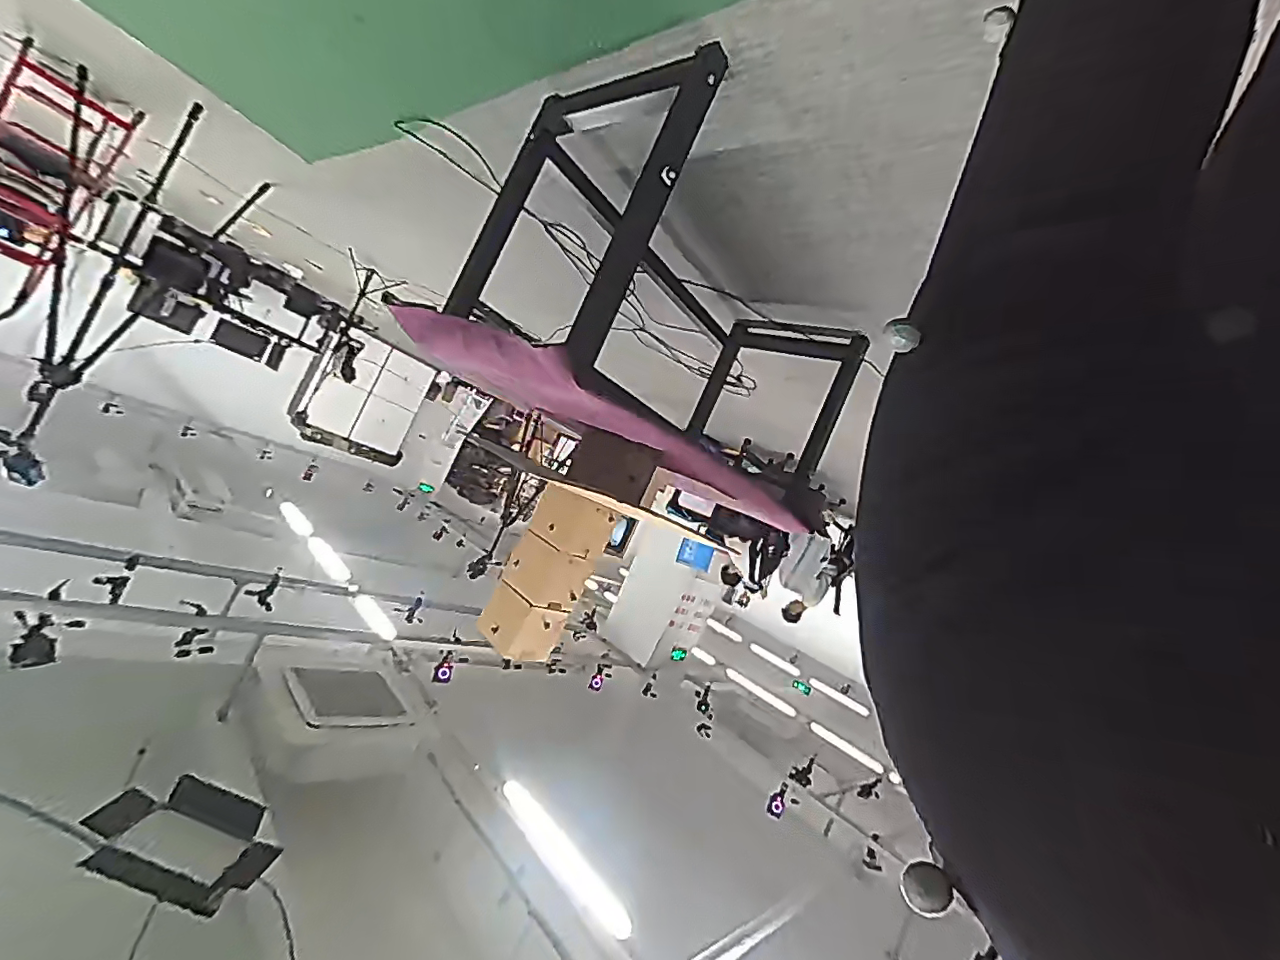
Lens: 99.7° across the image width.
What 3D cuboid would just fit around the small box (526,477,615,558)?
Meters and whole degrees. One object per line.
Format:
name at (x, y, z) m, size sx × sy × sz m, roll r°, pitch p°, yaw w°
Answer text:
small box at (-0.197, 0.109, 1.597) m, size 0.179 × 0.176 × 0.168 m, roll 26°, pitch 178°, yaw 40°

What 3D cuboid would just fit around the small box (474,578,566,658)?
small box at (-0.350, 0.399, 1.593) m, size 0.179 × 0.176 × 0.168 m, roll 26°, pitch 178°, yaw 42°
